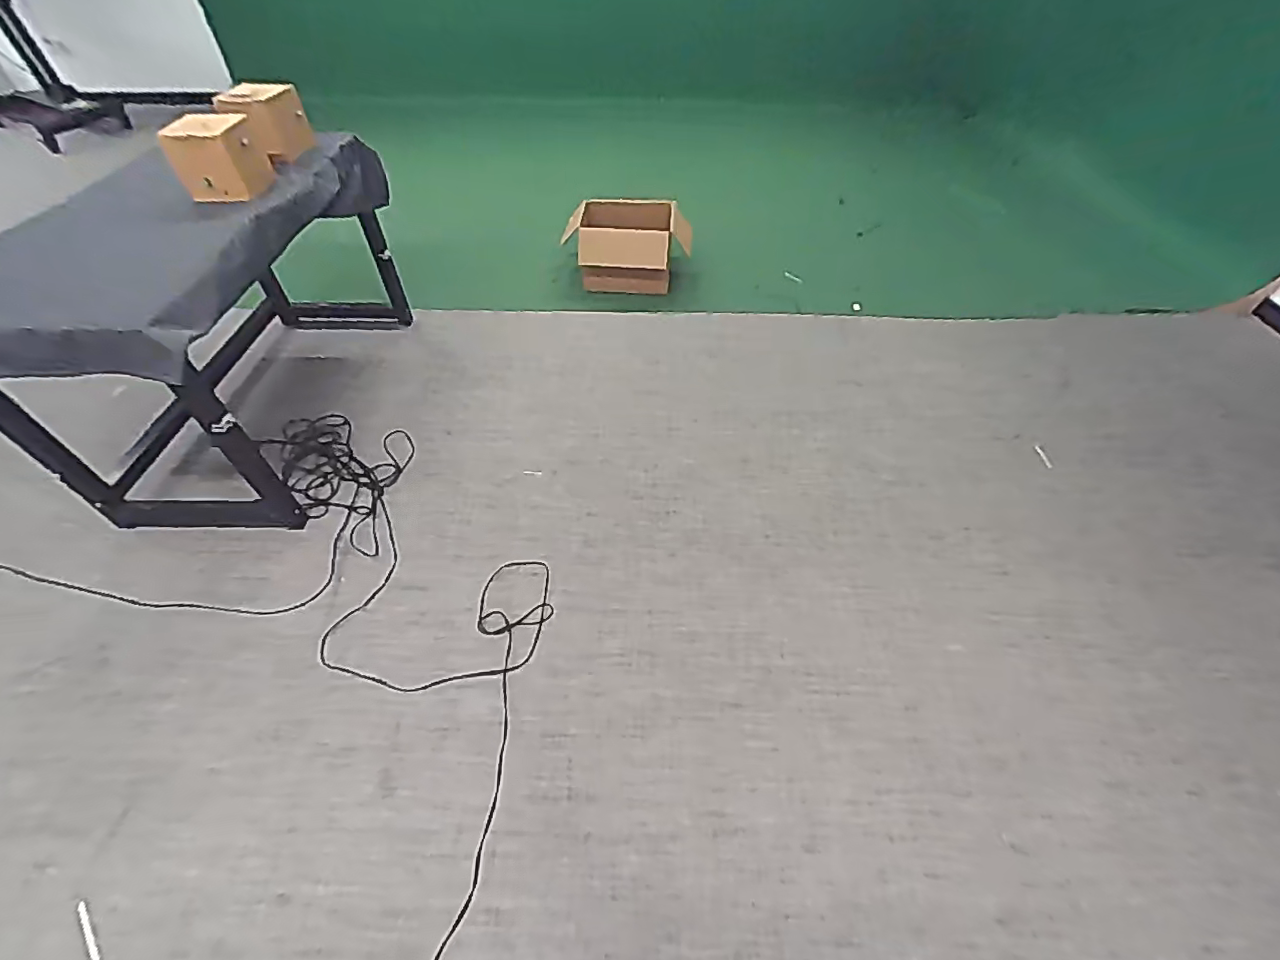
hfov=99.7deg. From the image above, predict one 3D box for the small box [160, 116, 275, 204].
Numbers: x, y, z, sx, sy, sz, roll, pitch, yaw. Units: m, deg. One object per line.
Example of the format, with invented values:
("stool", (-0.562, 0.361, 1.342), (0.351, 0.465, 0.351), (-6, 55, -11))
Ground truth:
("small box", (-1.171, -0.899, 1.520), (0.168, 0.176, 0.179), (-1, 50, -1))
